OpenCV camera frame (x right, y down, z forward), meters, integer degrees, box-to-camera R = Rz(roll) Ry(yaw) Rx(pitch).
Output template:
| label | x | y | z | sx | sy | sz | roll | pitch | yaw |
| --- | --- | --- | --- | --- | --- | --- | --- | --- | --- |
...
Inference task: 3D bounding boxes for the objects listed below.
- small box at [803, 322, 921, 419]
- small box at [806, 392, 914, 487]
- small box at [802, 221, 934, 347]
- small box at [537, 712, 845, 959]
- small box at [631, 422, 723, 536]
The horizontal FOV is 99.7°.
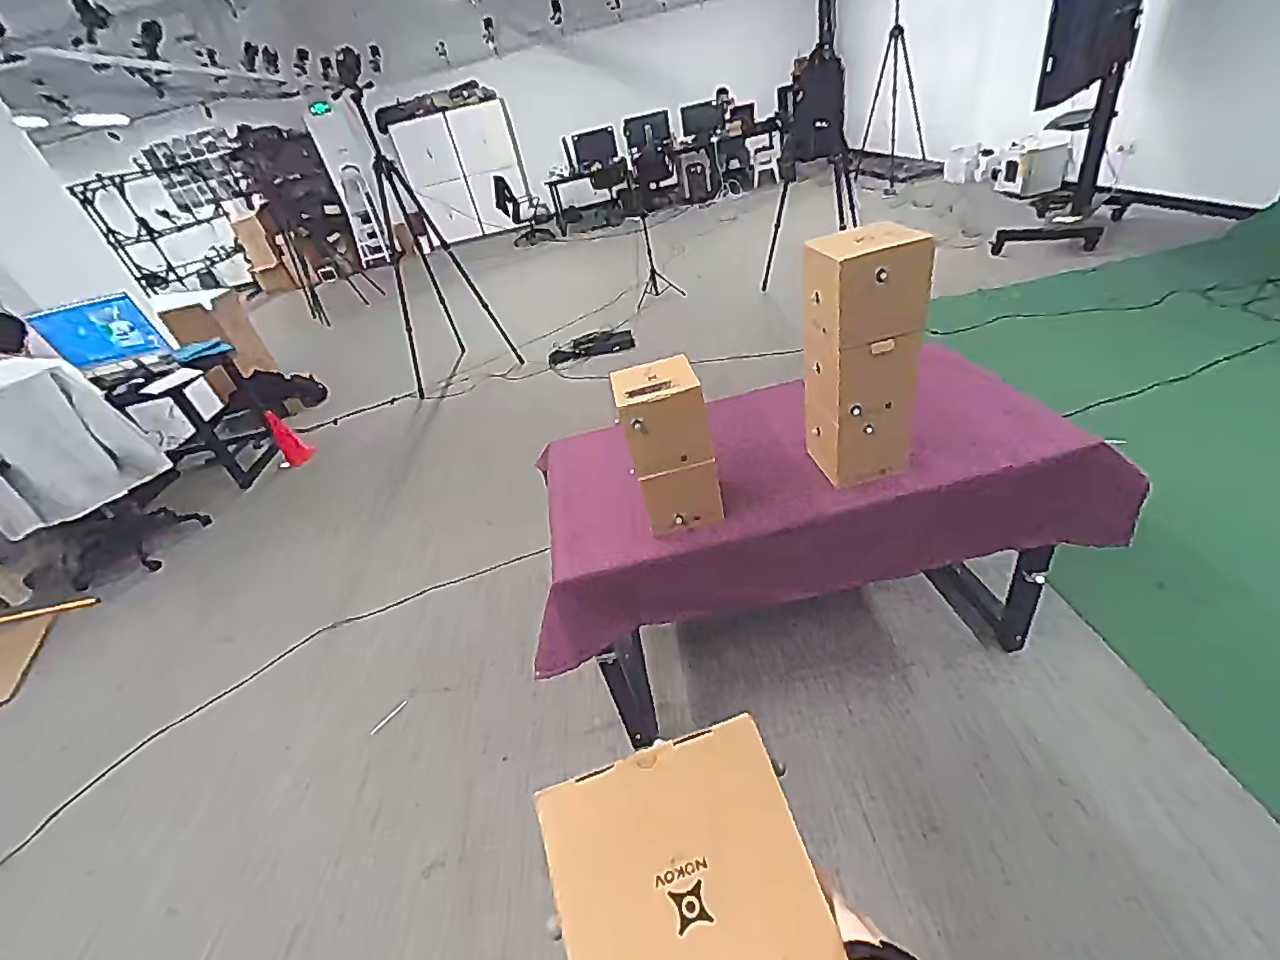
| label | x | y | z | sx | sy | sz | roll | pitch | yaw |
| --- | --- | --- | --- | --- | --- | --- | --- | --- | --- |
| small box | 0.455 | -0.242 | 1.126 | 0.168 | 0.176 | 0.179 | -15 | 35 | 0 |
| small box | 0.488 | -0.111 | 1.219 | 0.168 | 0.176 | 0.179 | -16 | 34 | 1 |
| small box | 0.424 | -0.370 | 1.027 | 0.179 | 0.176 | 0.168 | -14 | 36 | 0 |
| small box | 0.034 | 0.303 | 0.421 | 0.168 | 0.176 | 0.179 | -18 | 61 | -7 |
| small box | 0.082 | -0.003 | 1.218 | 0.168 | 0.176 | 0.179 | -14 | 36 | 1 |
